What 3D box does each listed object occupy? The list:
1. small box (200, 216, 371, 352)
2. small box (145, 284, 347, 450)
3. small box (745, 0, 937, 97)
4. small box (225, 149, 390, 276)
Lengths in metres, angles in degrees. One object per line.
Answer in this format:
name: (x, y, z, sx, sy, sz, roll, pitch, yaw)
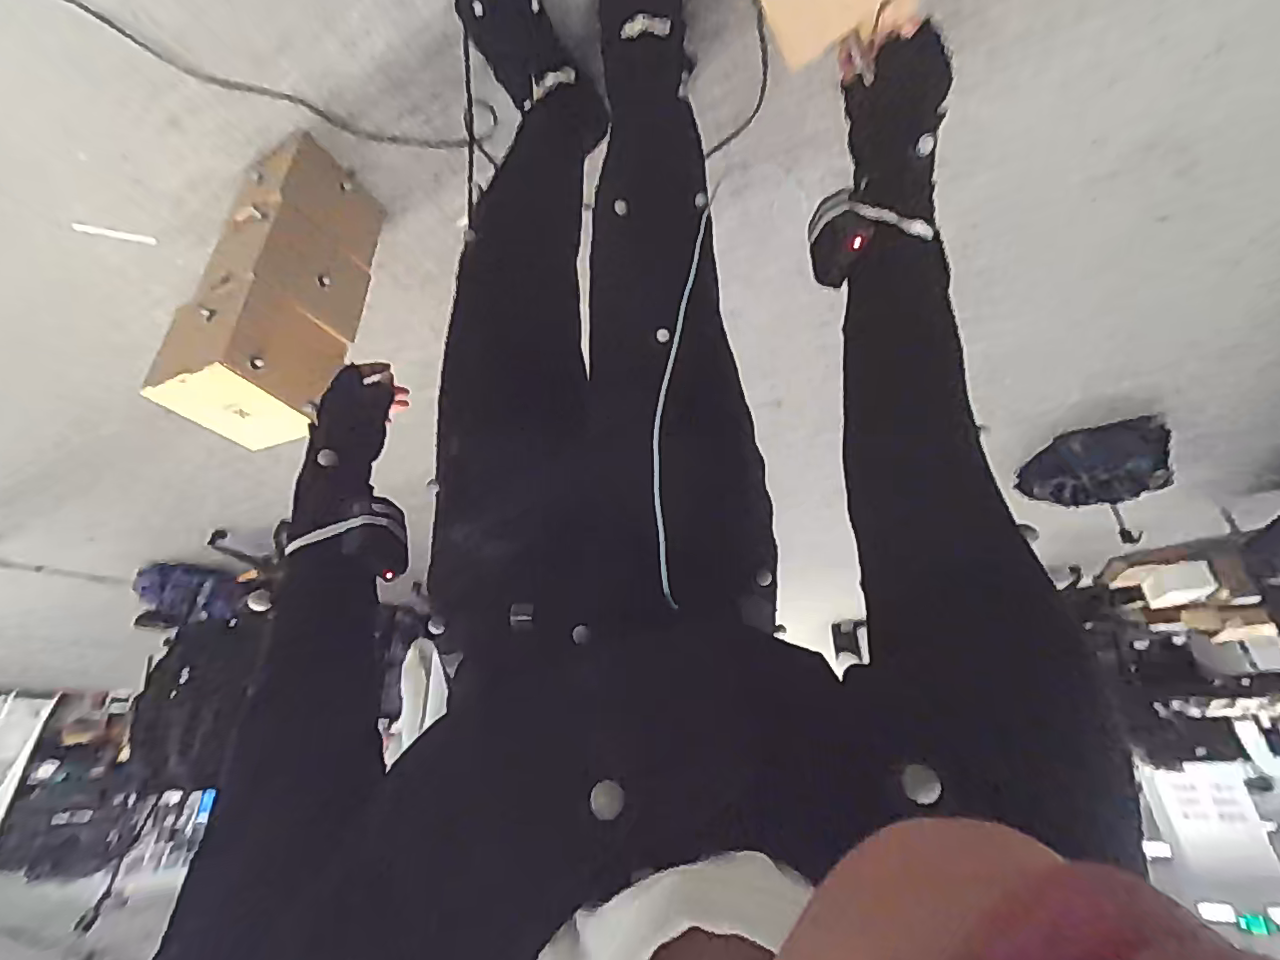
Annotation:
small box: (-0.598, -0.317, 0.926, 0.168, 0.176, 0.179, -14, 151, 21)
small box: (-0.602, -0.172, 0.853, 0.168, 0.176, 0.179, -11, 151, 17)
small box: (0.153, -0.469, 0.435, 0.168, 0.176, 0.179, -21, 134, 28)
small box: (-0.601, -0.468, 0.997, 0.168, 0.176, 0.179, -13, 149, 26)
